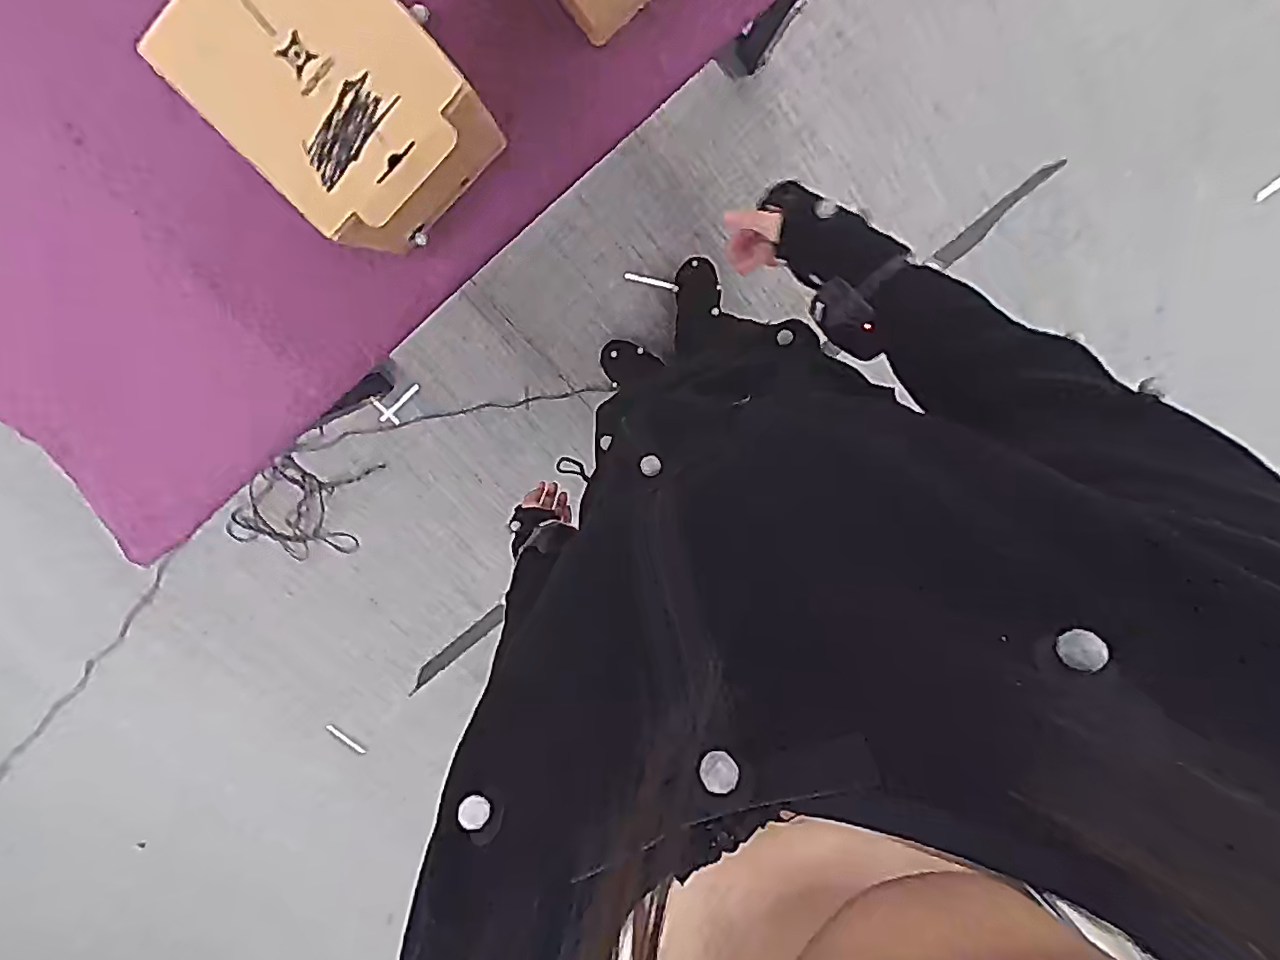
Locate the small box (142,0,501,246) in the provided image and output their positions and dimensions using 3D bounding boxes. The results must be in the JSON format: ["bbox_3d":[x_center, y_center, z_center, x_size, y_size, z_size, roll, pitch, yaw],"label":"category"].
[{"bbox_3d":[-0.247,-0.329,0.474,0.168,0.176,0.179,-41,106,10],"label":"small box"}]
